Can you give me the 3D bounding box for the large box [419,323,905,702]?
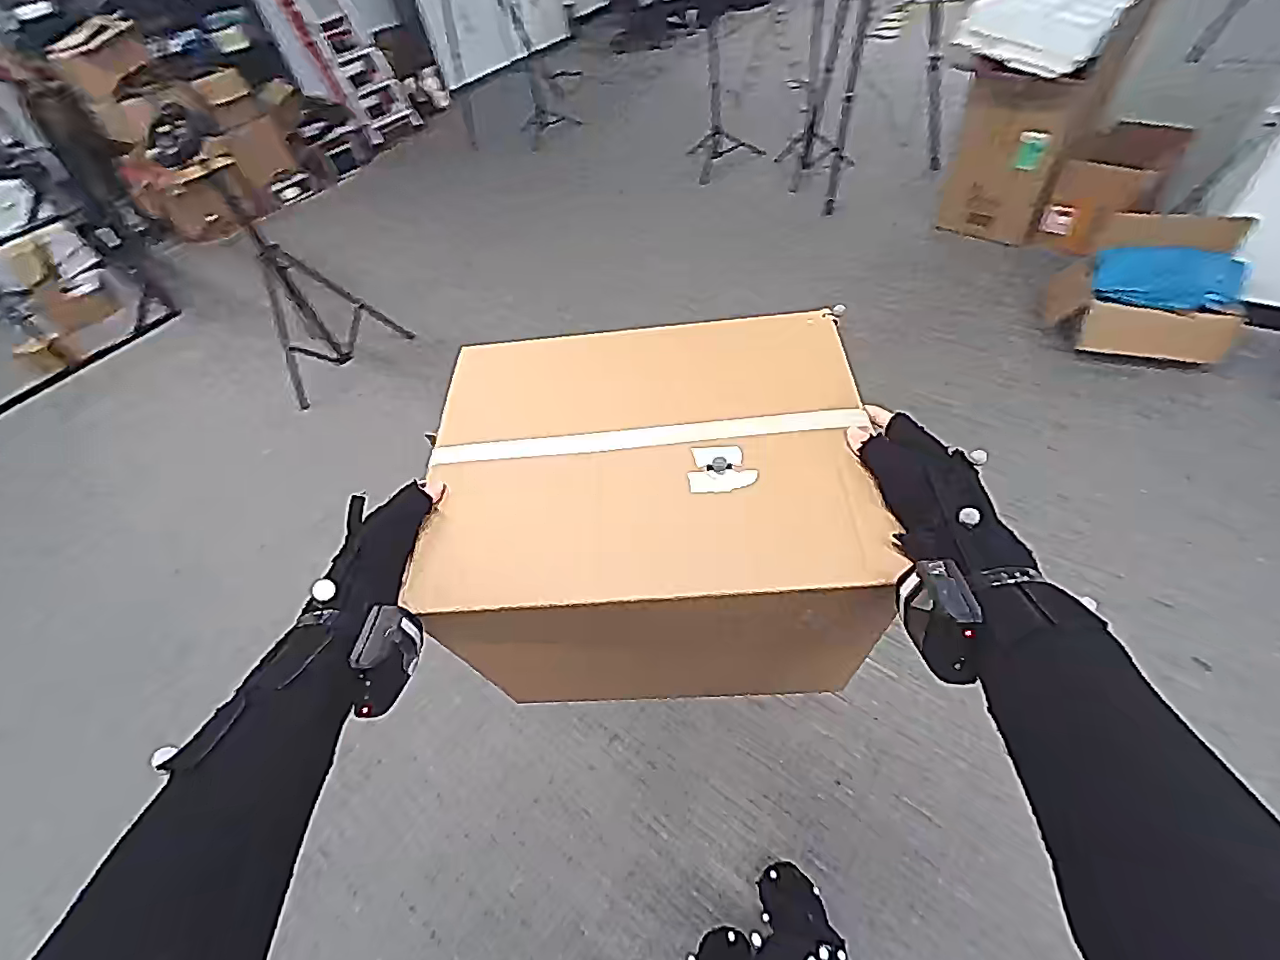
[{"bbox_3d":[0.020,0.054,0.640,0.408,0.320,0.320,-5,55,4],"label":"large box"}]
